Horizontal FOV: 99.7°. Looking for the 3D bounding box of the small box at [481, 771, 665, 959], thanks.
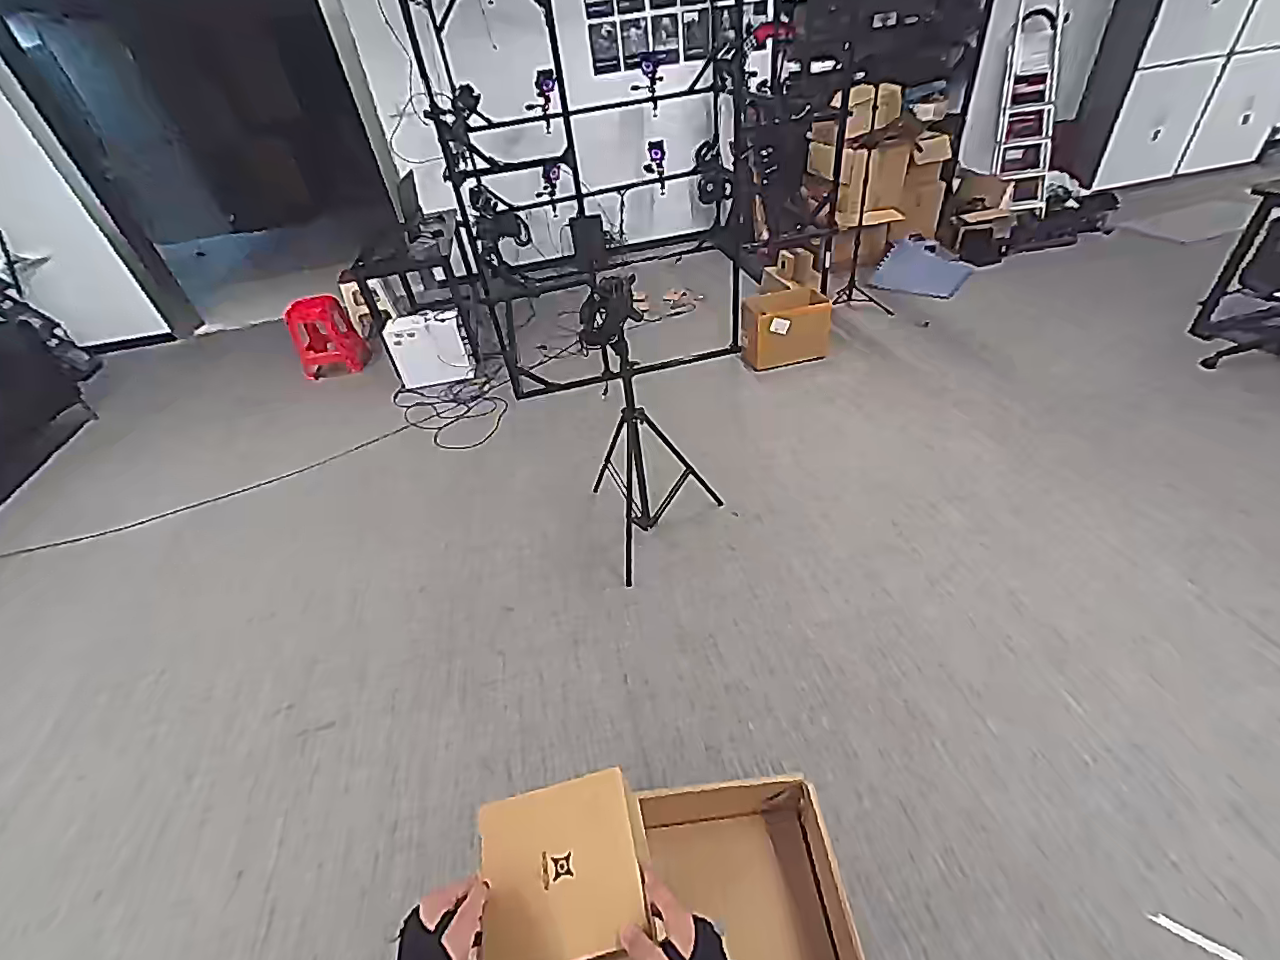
[{"bbox_3d":[-0.074,0.474,0.643,0.179,0.176,0.168,-16,47,-3],"label":"small box"}]
